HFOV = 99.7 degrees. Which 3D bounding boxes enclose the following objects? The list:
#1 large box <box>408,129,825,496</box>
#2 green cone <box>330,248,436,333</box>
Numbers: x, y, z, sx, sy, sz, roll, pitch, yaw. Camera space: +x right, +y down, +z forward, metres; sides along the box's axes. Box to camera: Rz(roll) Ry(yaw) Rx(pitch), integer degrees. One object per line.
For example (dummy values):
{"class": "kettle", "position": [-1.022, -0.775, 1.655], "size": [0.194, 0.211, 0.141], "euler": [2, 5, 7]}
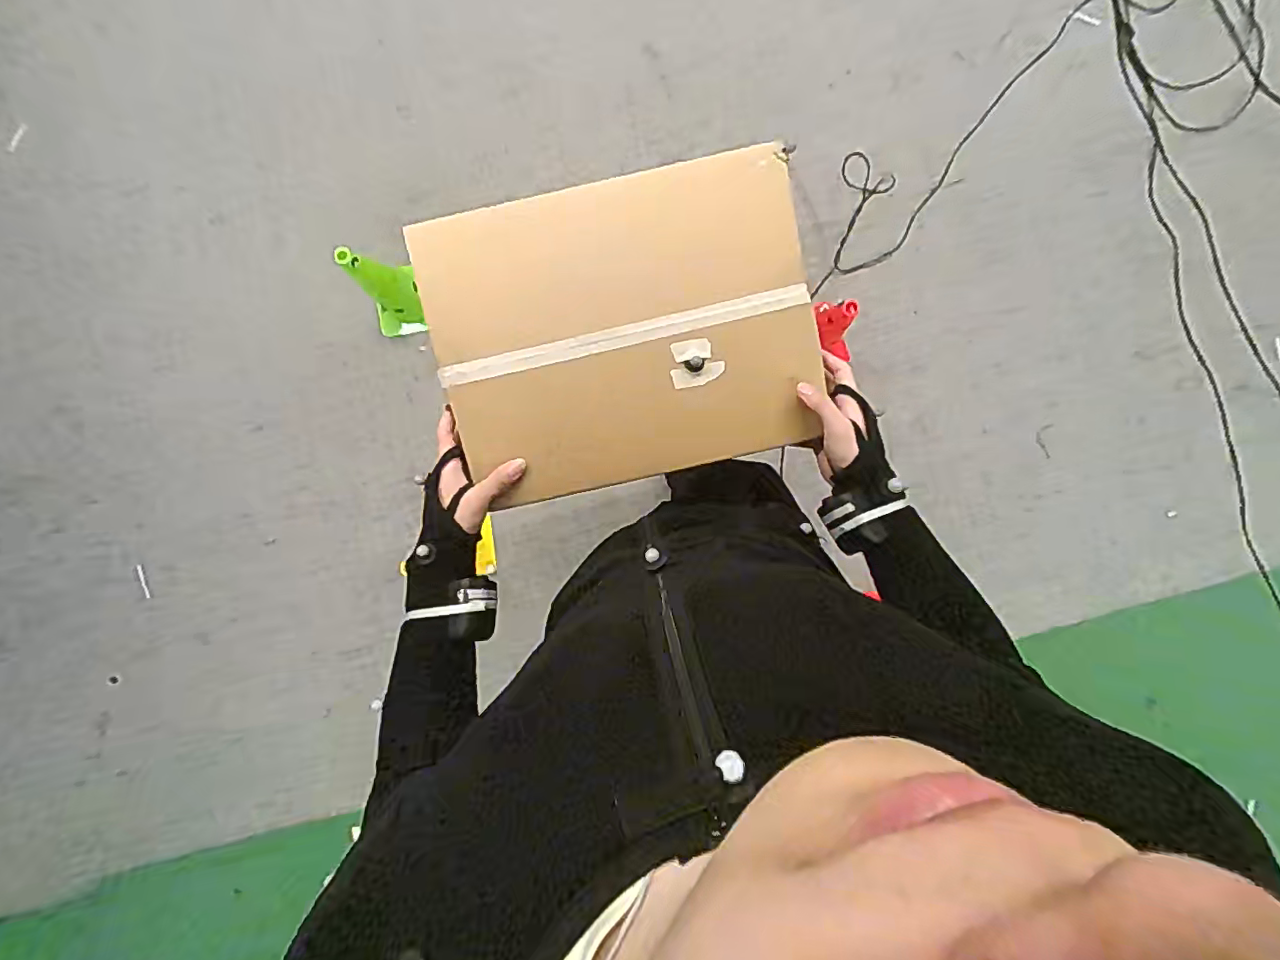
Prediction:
{"class": "large box", "position": [-0.024, -0.194, 0.733], "size": [0.408, 0.320, 0.320], "euler": [-13, 99, 0]}
{"class": "green cone", "position": [-0.705, -0.539, 1.441], "size": [0.200, 0.368, 0.202], "euler": [-10, 93, 3]}
